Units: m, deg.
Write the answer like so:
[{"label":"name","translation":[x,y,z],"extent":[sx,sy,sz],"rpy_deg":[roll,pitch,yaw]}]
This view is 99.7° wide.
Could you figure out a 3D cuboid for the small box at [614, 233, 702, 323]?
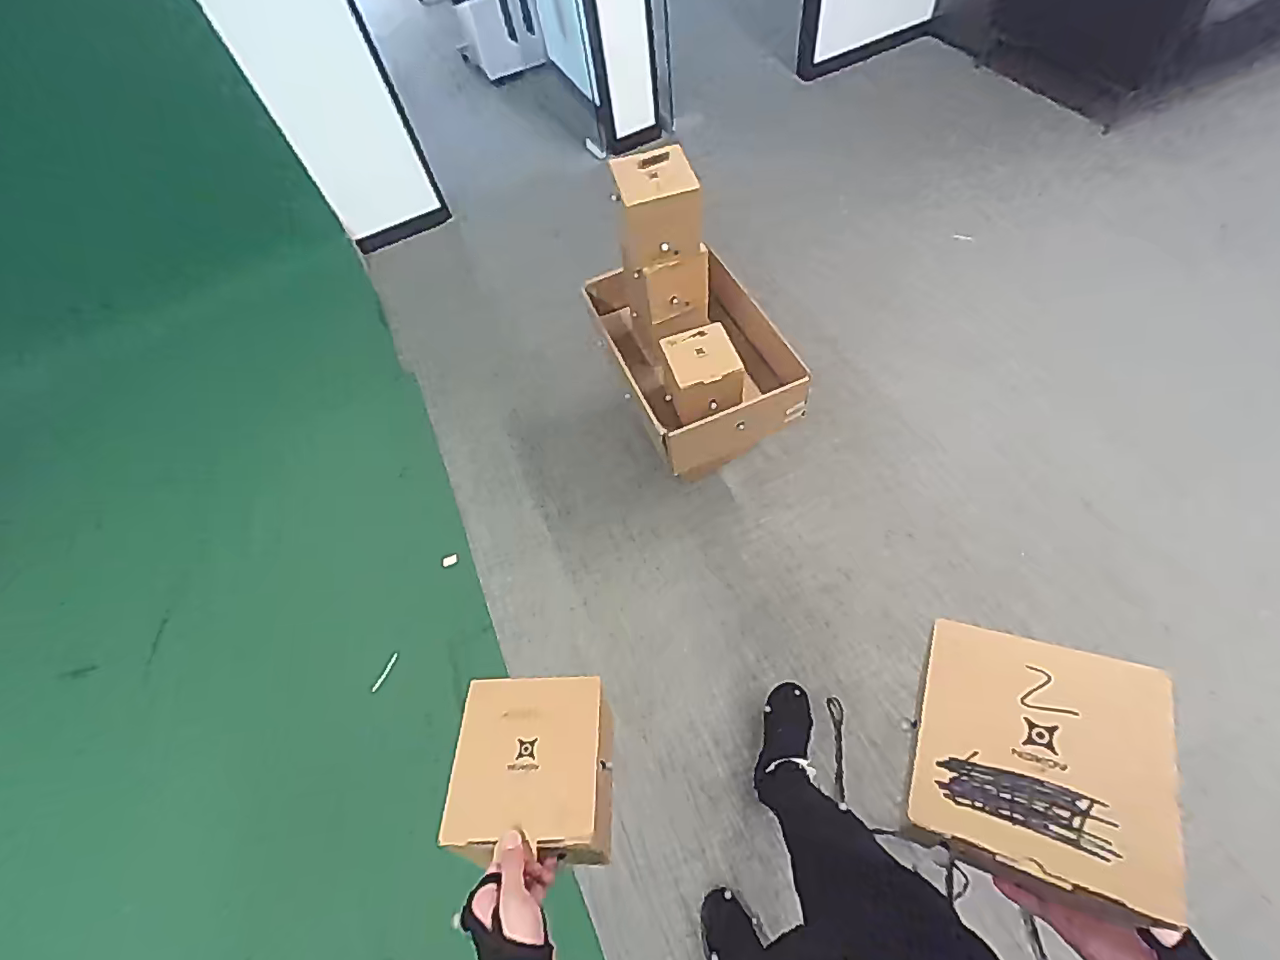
[{"label":"small box","translation":[0.047,-0.538,1.387],"extent":[0.168,0.176,0.179],"rpy_deg":[-24,61,-7]}]

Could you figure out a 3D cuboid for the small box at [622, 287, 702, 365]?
[{"label":"small box","translation":[0.063,-0.460,1.528],"extent":[0.168,0.176,0.179],"rpy_deg":[-23,61,-6]}]

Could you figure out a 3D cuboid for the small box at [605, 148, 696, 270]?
[{"label":"small box","translation":[0.025,-0.620,1.246],"extent":[0.168,0.176,0.179],"rpy_deg":[-15,61,-2]}]
